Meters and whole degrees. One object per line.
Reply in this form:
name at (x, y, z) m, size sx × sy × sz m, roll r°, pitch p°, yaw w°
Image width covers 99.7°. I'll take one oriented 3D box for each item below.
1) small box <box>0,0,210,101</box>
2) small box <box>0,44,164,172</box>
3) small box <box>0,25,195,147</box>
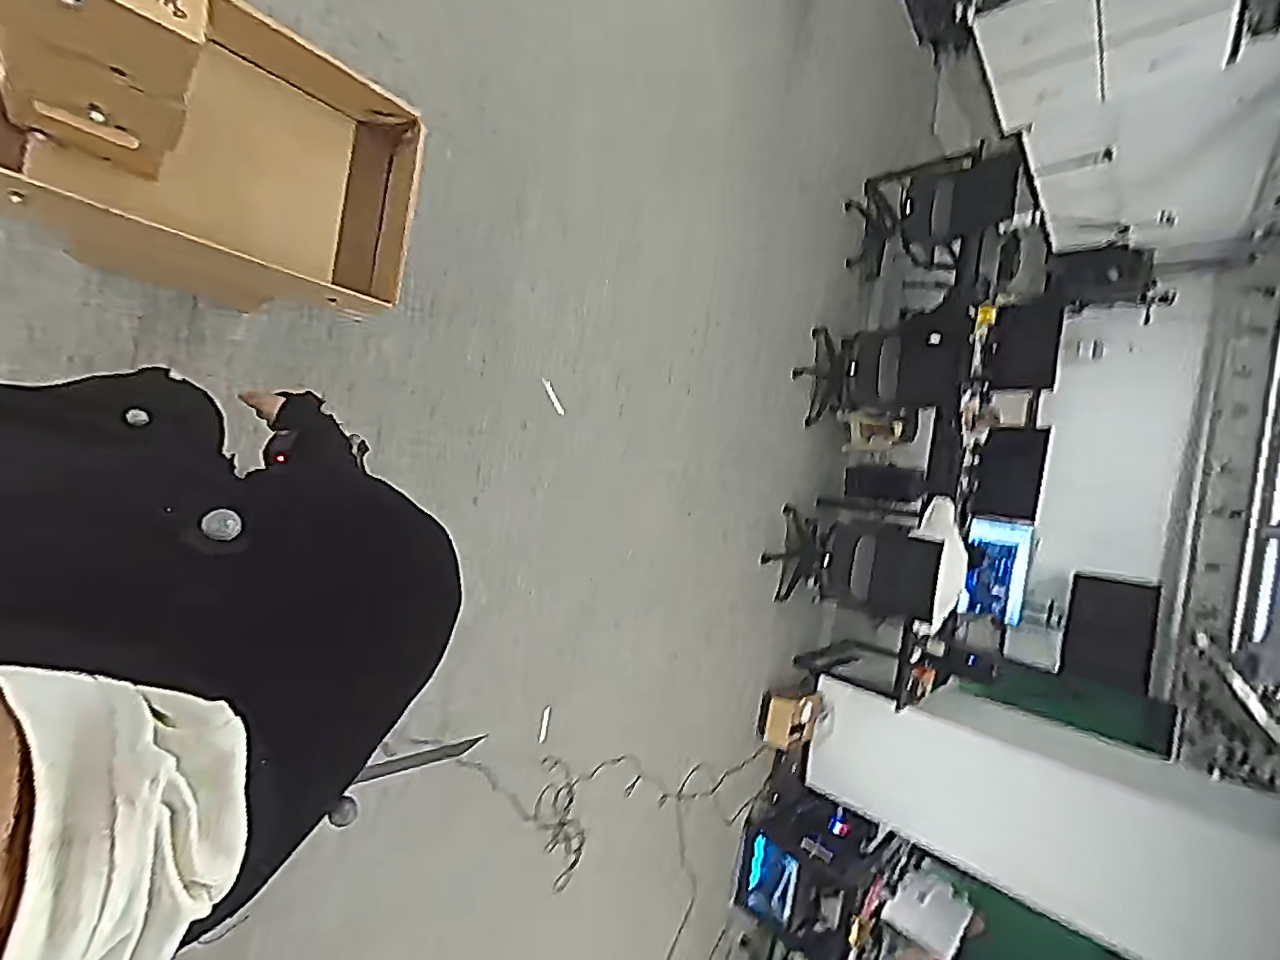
small box at (-0.560, -0.552, 0.562) m, size 0.168 × 0.176 × 0.179 m, roll 6°, pitch 90°, yaw -46°
small box at (-0.795, -0.589, 0.789) m, size 0.168 × 0.176 × 0.179 m, roll 8°, pitch 89°, yaw -46°
small box at (-0.674, -0.567, 0.681) m, size 0.168 × 0.176 × 0.179 m, roll 6°, pitch 92°, yaw -46°
